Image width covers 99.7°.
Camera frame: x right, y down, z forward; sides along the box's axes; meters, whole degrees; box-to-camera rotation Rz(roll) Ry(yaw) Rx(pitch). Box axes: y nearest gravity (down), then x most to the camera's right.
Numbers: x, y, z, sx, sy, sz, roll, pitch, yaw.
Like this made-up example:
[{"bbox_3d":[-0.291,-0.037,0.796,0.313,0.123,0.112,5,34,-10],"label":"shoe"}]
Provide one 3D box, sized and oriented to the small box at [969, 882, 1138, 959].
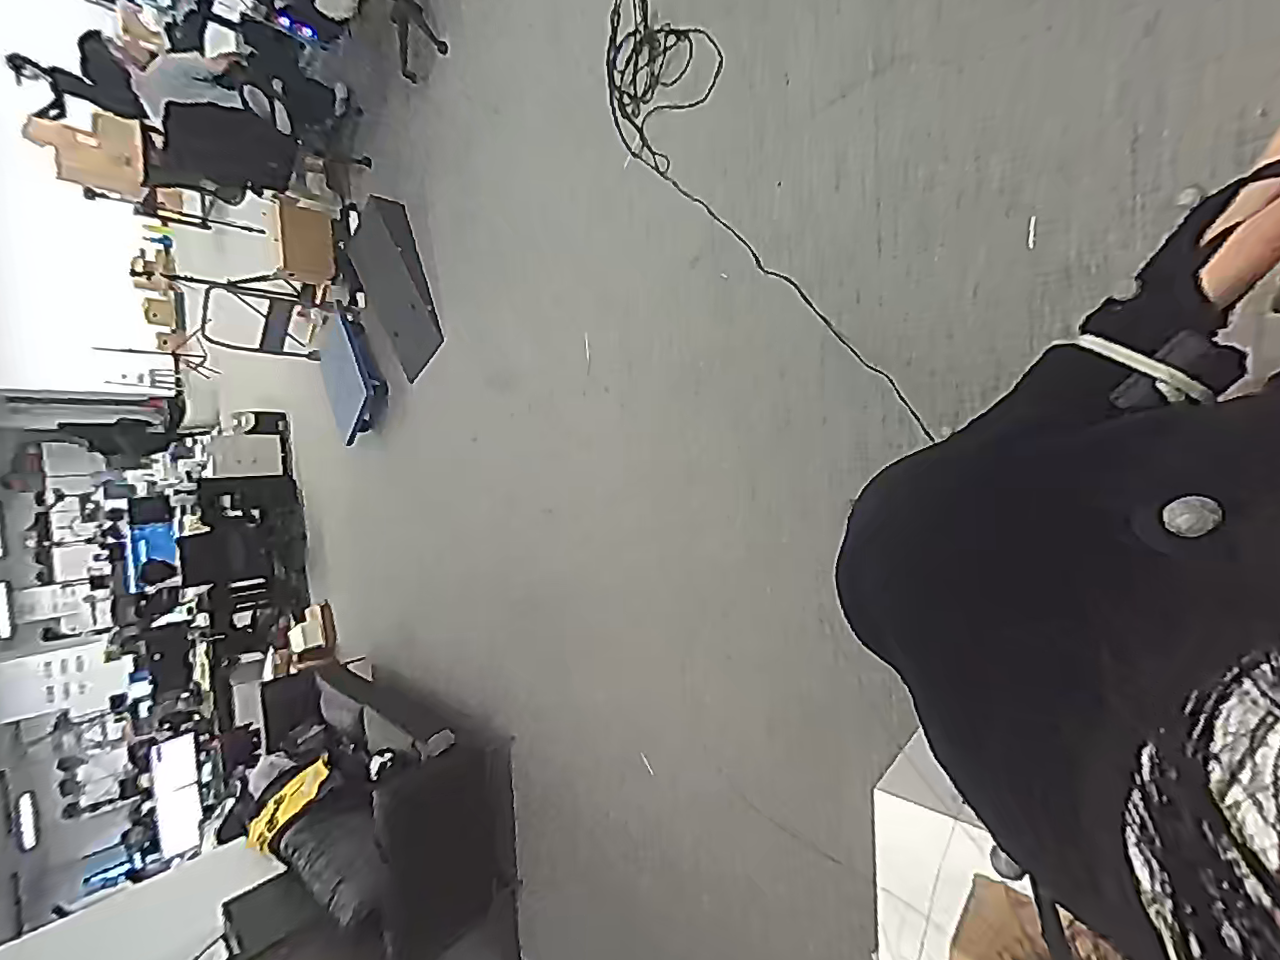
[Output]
[{"bbox_3d":[0.559,0.710,0.731,0.168,0.176,0.179,1,95,44],"label":"small box"}]
